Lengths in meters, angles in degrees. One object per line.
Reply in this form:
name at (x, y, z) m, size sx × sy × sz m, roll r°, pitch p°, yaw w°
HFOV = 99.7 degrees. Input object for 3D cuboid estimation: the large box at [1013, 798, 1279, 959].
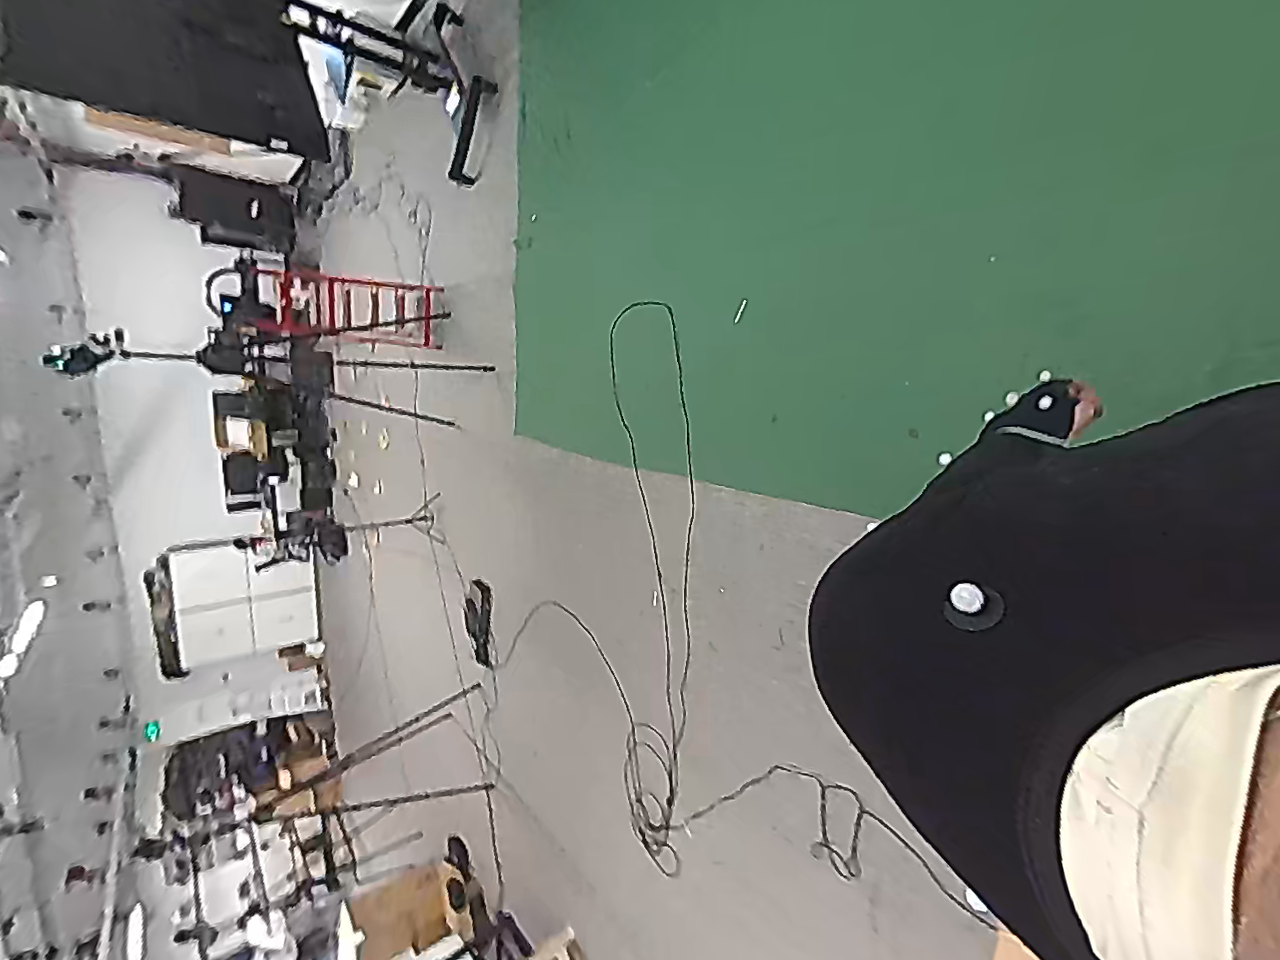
large box at (1.121, 1.013, 1.205) m, size 0.408 × 0.320 × 0.320 m, roll 11°, pitch 104°, yaw 47°
